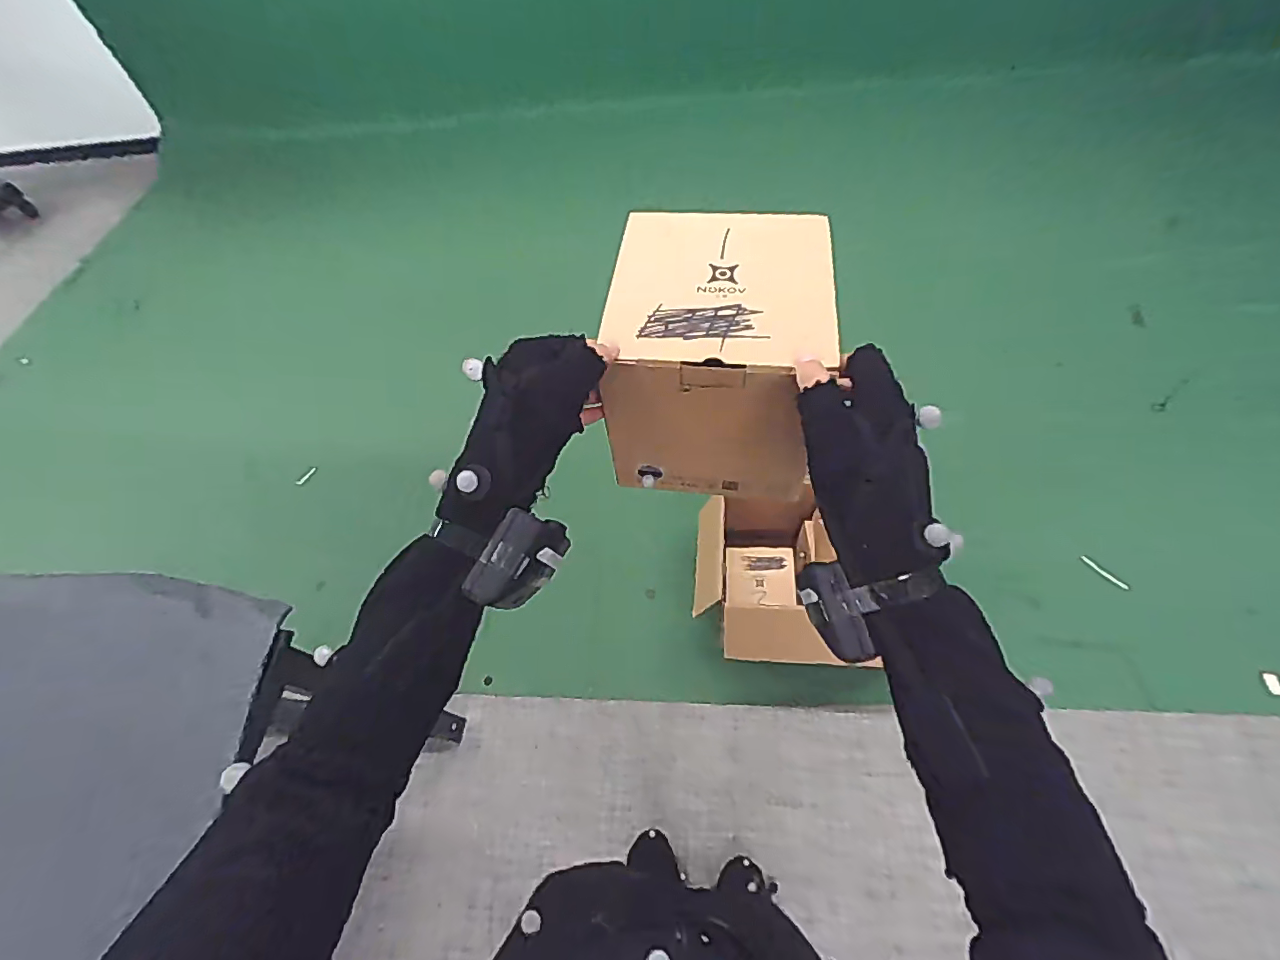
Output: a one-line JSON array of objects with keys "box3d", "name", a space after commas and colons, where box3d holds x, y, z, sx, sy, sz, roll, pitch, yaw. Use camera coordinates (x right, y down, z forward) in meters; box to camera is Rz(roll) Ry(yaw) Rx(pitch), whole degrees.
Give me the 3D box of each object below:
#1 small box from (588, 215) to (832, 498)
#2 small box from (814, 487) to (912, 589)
[{"box3d": [0.063, -0.101, 0.466, 0.168, 0.176, 0.179, 5, 57, 8], "name": "small box"}, {"box3d": [0.502, 0.138, 1.241, 0.168, 0.176, 0.179, 4, 58, 7], "name": "small box"}]
